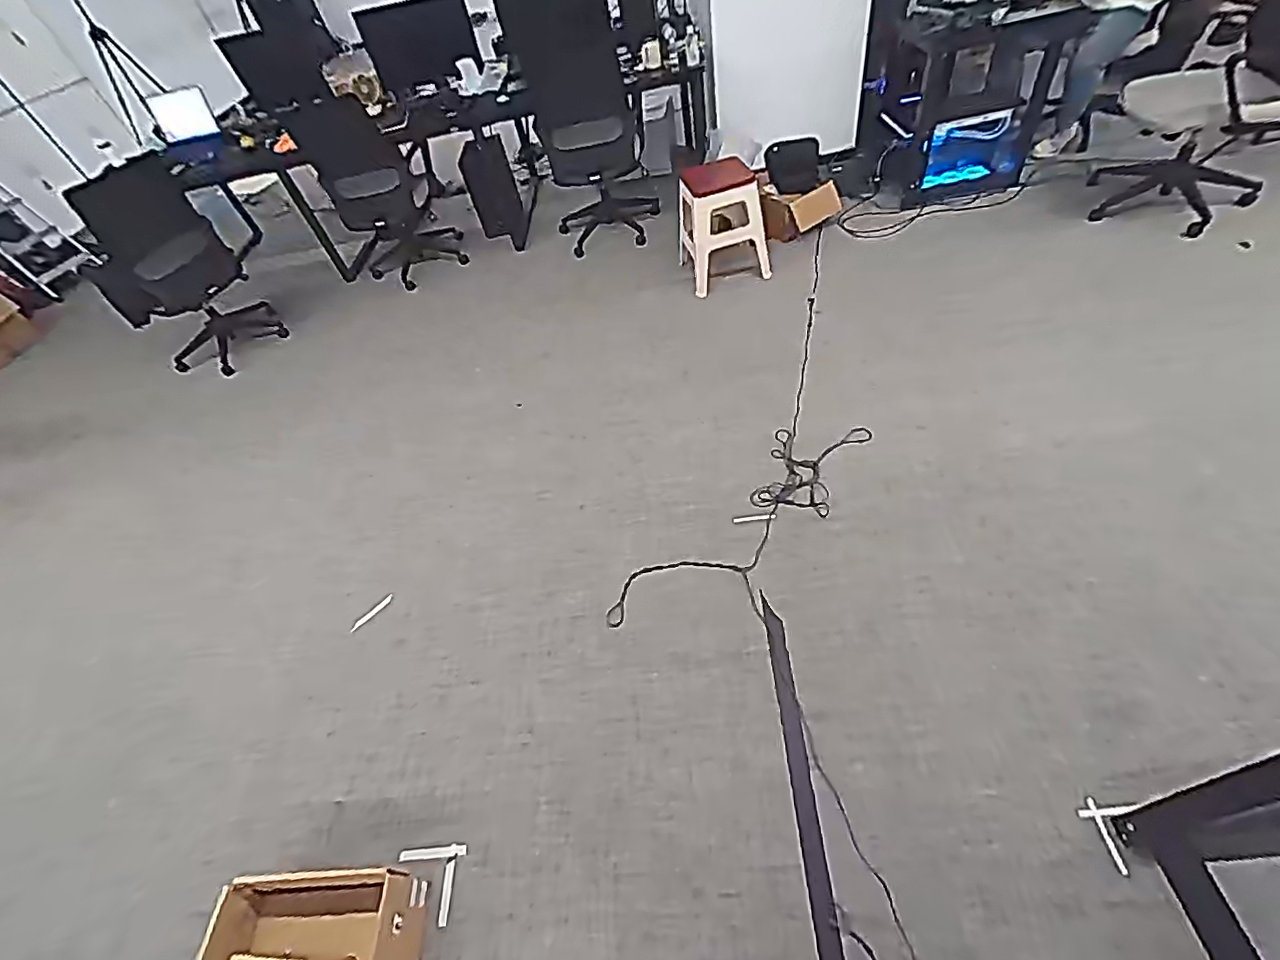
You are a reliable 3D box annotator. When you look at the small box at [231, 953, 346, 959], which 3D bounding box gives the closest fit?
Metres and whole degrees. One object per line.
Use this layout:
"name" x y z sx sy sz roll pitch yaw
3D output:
"small box" -0.732 1.071 1.090 0.179 0.176 0.168 -4 50 10
